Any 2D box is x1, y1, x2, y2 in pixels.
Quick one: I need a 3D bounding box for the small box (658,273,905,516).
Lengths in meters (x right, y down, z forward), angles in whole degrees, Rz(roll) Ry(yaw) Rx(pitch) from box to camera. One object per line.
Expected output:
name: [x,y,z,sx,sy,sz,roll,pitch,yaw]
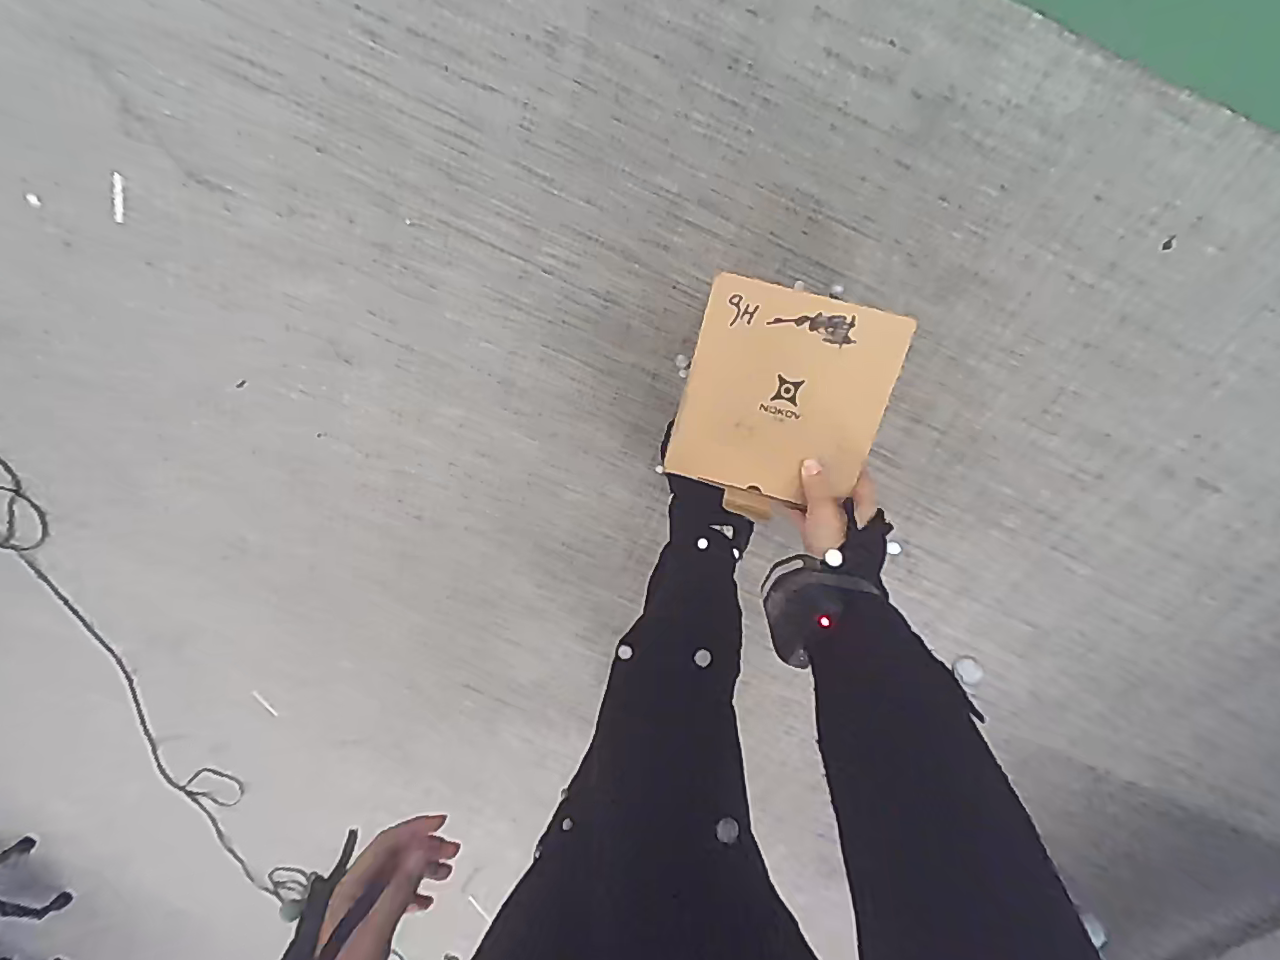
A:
small box: [0.124,-0.091,0.535,0.168,0.176,0.179,15,109,2]
